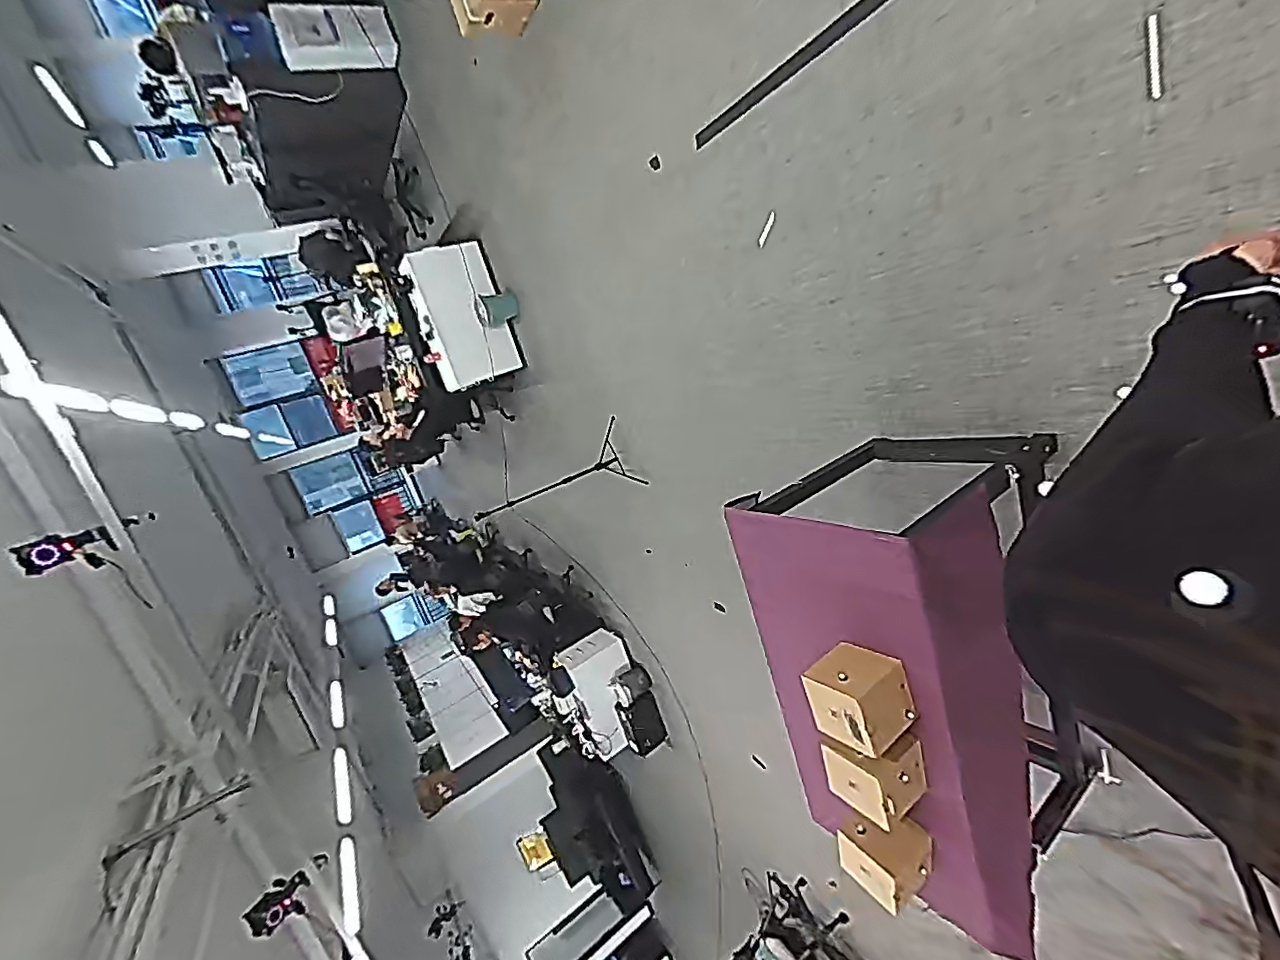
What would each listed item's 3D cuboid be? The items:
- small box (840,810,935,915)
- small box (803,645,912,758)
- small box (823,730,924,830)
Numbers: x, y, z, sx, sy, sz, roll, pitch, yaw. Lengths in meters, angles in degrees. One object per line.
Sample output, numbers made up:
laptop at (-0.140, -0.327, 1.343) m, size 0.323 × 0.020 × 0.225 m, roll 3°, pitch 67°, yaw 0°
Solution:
small box at (0.682, 1.024, 1.492) m, size 0.179 × 0.176 × 0.168 m, roll 21°, pitch 130°, yaw 53°
small box at (0.541, 0.531, 1.329) m, size 0.179 × 0.176 × 0.168 m, roll 0°, pitch 113°, yaw 62°
small box at (0.606, 0.734, 1.388) m, size 0.179 × 0.176 × 0.168 m, roll 13°, pitch 123°, yaw 57°
